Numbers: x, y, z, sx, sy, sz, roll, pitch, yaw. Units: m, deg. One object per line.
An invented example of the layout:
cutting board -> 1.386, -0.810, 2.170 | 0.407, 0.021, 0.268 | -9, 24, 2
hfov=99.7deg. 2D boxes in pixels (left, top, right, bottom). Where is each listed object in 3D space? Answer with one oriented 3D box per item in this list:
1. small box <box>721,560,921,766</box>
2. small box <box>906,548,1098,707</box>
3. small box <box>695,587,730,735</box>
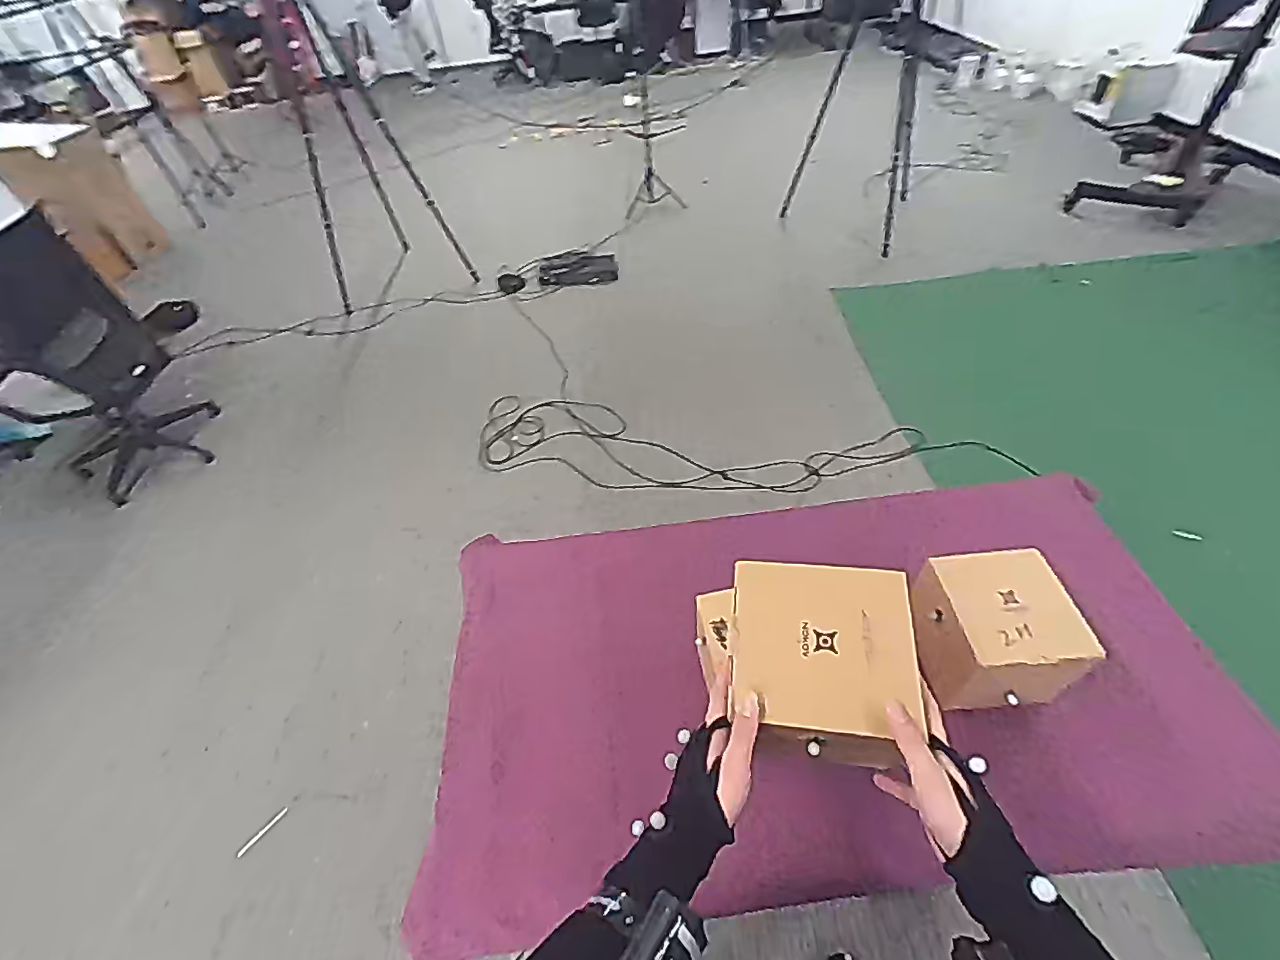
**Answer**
small box -> 0.186, 0.204, 0.594 | 0.179, 0.176, 0.168 | 3, 56, 12
small box -> 0.528, 0.227, 0.829 | 0.168, 0.176, 0.179 | -5, 48, 3
small box -> 0.185, 0.273, 0.832 | 0.179, 0.176, 0.168 | -10, 48, -2
